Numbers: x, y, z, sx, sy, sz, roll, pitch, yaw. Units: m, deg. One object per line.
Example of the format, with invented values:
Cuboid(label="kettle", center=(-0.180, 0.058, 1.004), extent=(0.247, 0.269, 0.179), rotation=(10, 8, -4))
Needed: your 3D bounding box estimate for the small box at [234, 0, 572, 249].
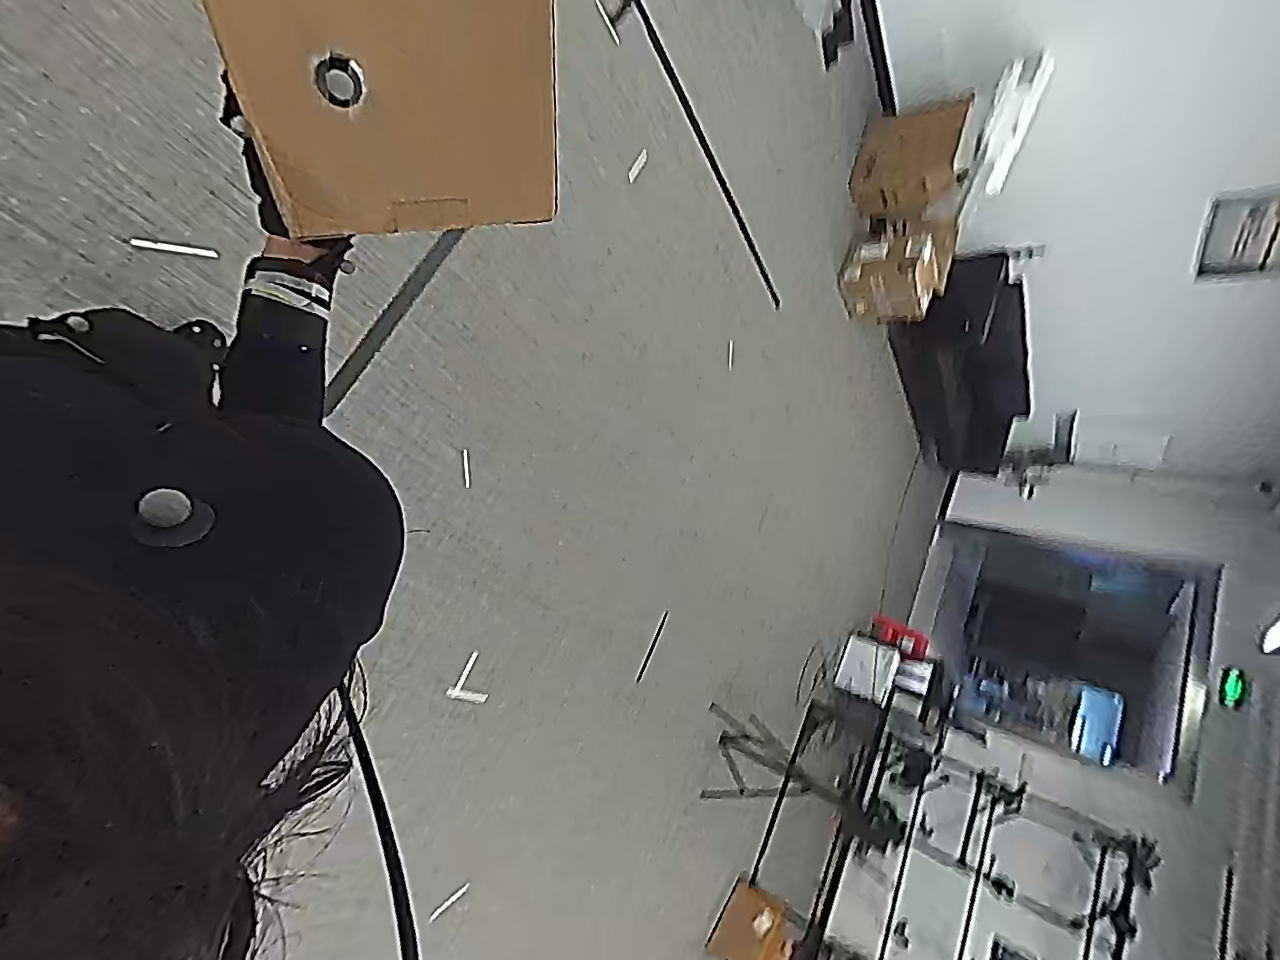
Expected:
Cuboid(label="small box", center=(-0.149, -0.266, 0.342), extent=(0.168, 0.179, 0.176), rotation=(-14, 137, -24))
